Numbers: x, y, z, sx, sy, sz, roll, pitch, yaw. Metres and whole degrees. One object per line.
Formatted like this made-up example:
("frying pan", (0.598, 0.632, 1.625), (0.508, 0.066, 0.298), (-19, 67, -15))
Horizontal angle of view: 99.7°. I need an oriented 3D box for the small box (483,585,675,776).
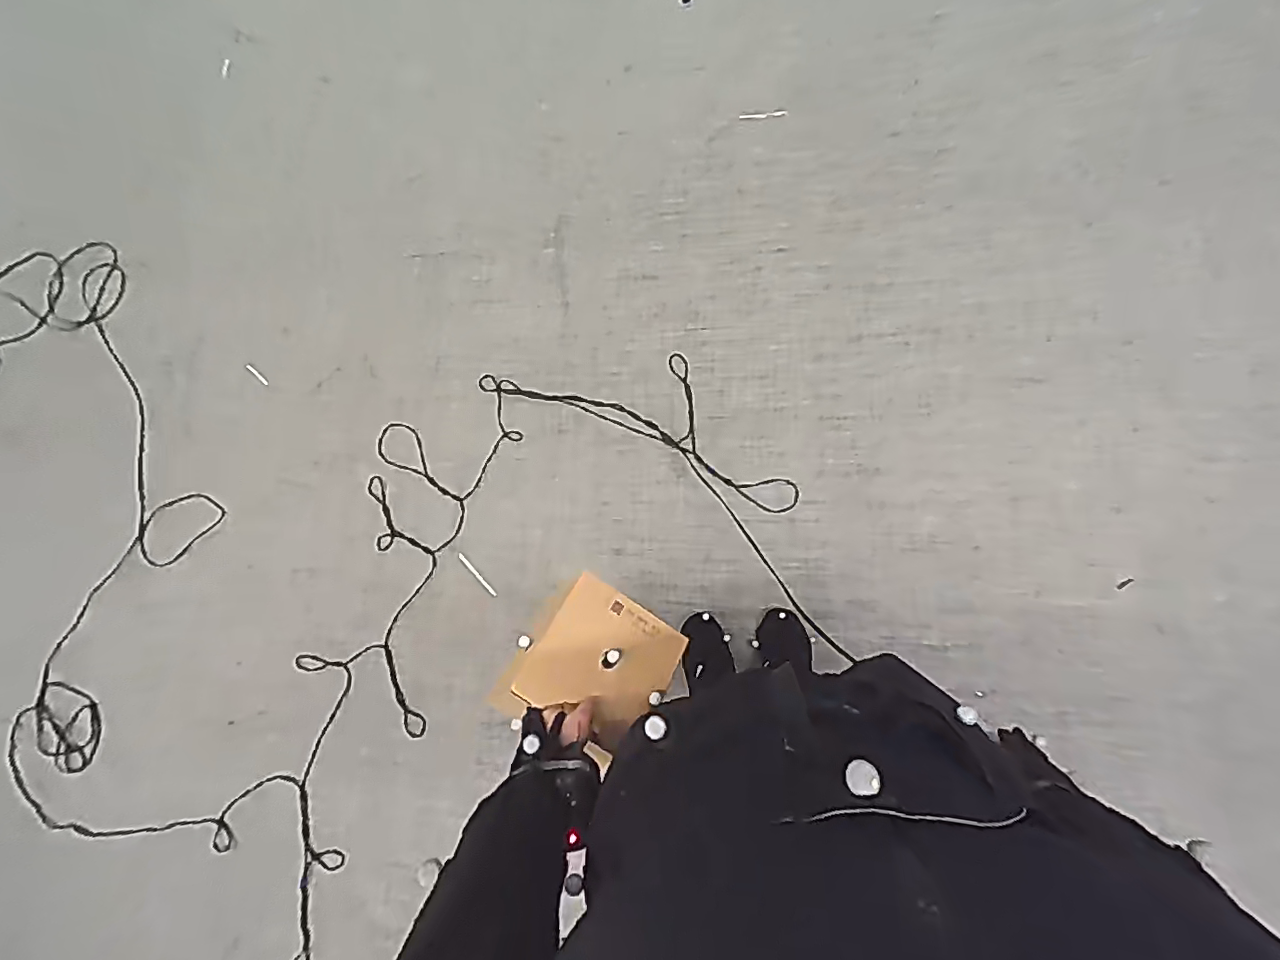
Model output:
("small box", (-0.075, 0.260, 0.708), (0.168, 0.179, 0.176), (36, 56, -6))
